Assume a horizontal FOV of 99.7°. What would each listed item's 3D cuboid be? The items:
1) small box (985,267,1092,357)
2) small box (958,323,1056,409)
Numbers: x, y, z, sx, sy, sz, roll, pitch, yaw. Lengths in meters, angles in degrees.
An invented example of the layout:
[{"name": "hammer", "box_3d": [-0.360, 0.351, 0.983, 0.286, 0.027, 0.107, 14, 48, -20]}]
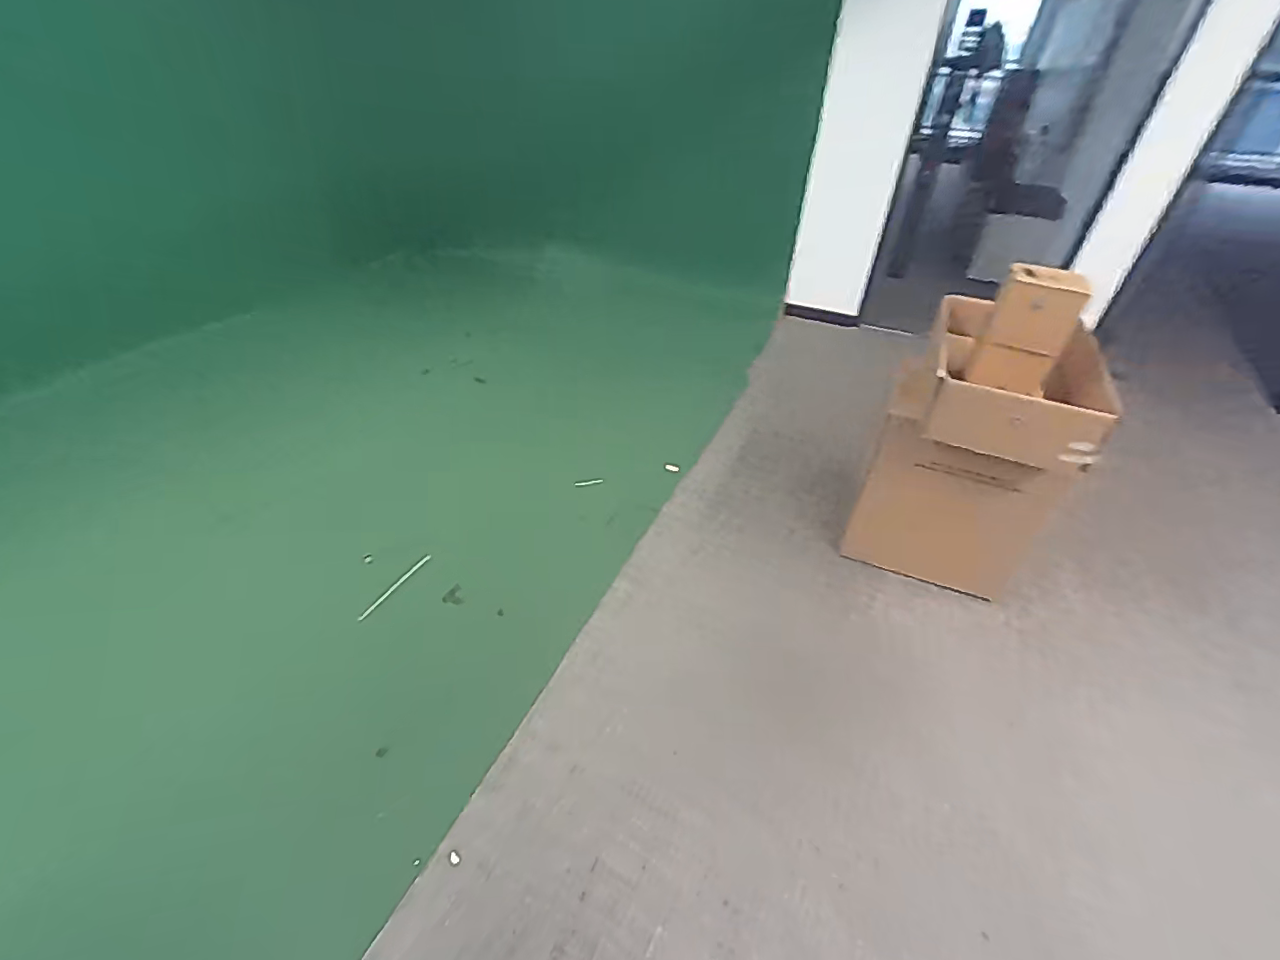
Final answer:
[{"name": "small box", "box_3d": [1.045, -0.446, 1.436, 0.179, 0.176, 0.168, 21, 43, 18]}, {"name": "small box", "box_3d": [1.039, -0.322, 1.544, 0.179, 0.176, 0.168, 19, 41, 16]}]
